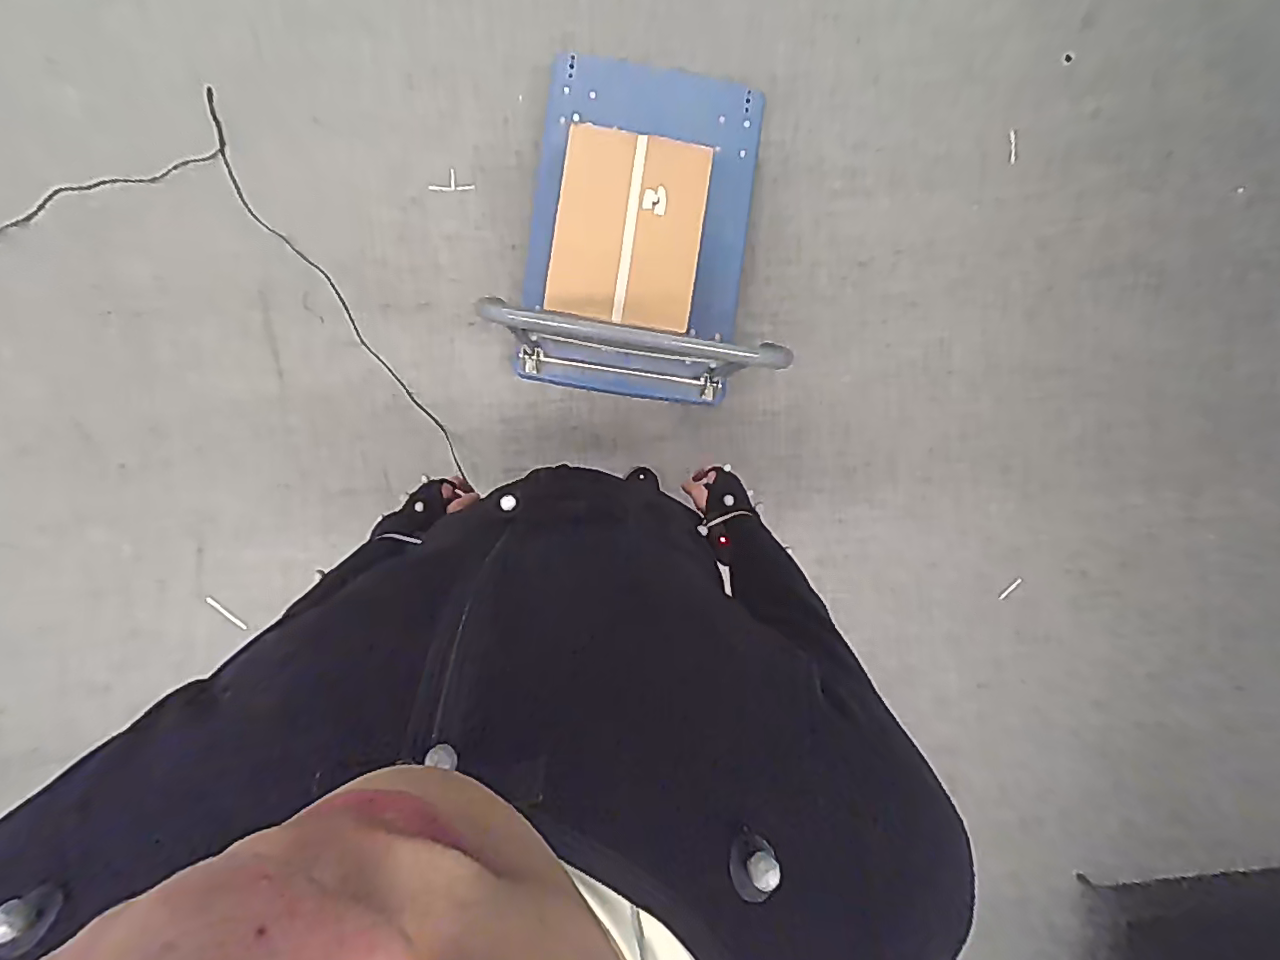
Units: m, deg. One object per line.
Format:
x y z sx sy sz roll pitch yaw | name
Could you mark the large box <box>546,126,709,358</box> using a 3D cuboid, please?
-0.035 -0.542 1.314 0.320 0.320 0.408 9 90 -5 | large box
